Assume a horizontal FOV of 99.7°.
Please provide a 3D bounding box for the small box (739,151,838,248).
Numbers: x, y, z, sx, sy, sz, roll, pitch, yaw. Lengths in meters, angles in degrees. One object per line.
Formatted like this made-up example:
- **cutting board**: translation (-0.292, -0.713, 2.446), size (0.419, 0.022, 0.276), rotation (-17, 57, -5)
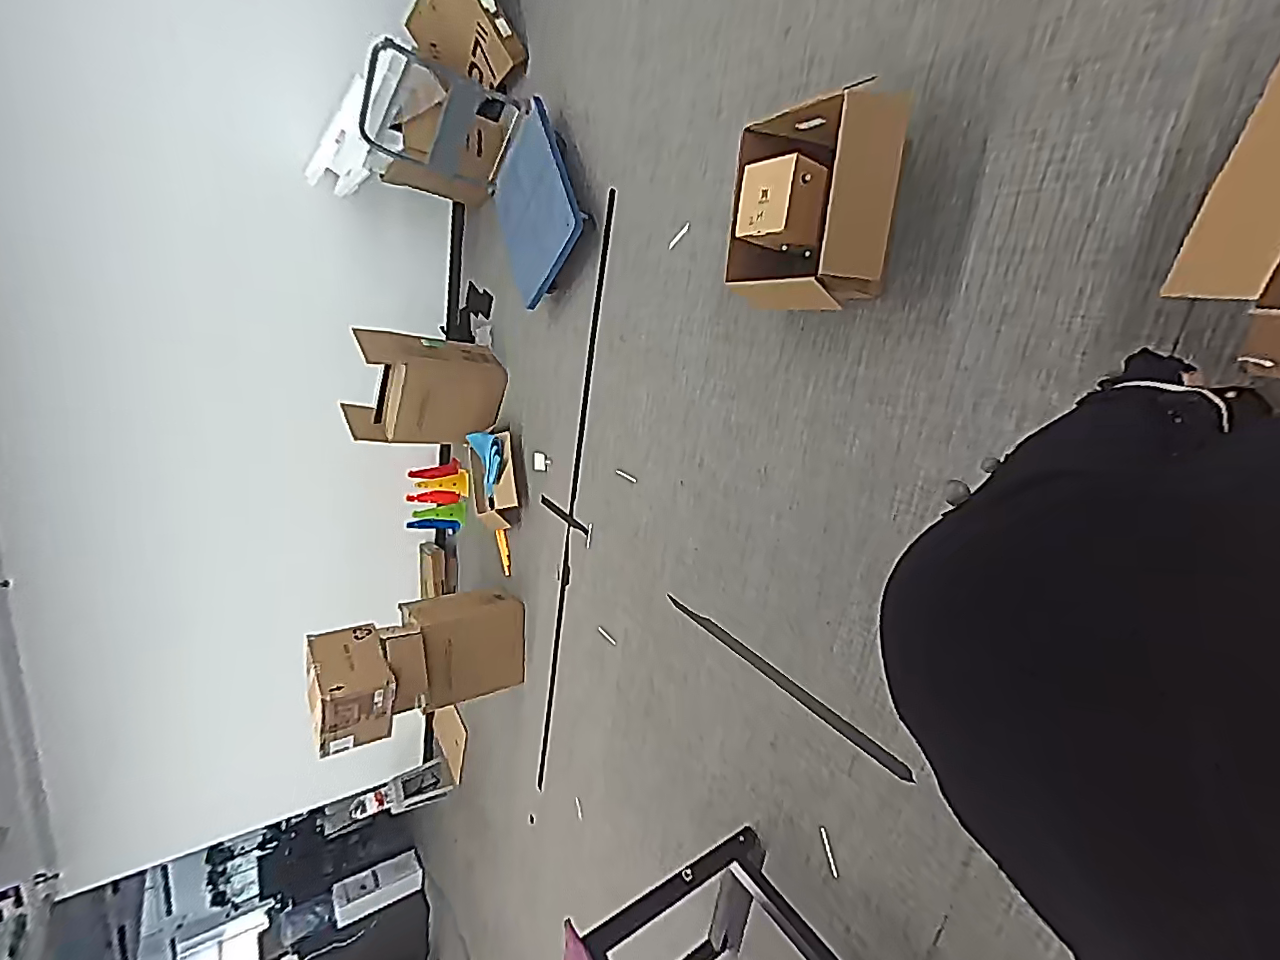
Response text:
- **small box**: translation (0.384, -0.710, 1.390), size (0.168, 0.176, 0.179), rotation (24, 112, 50)
